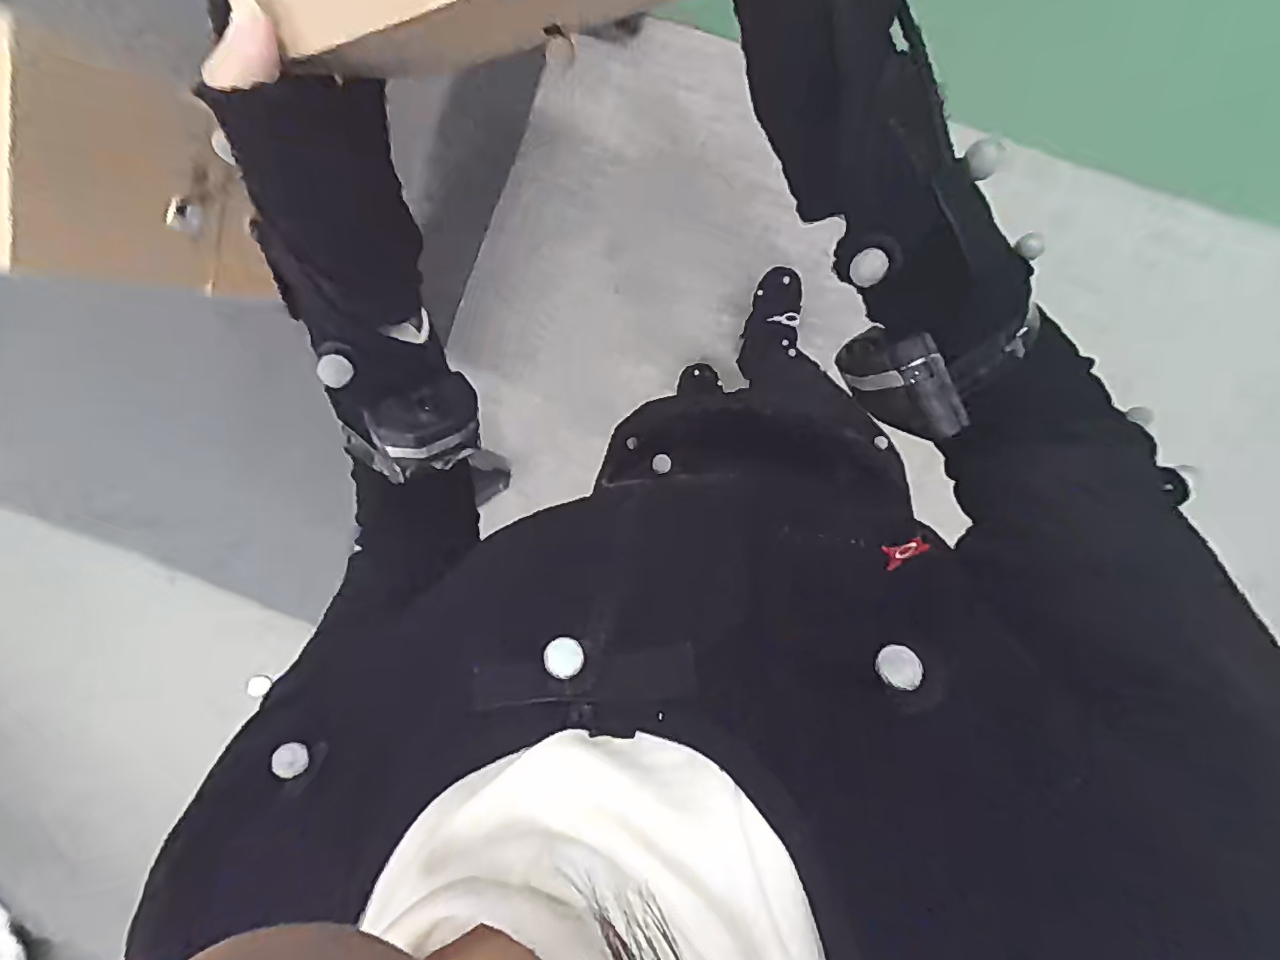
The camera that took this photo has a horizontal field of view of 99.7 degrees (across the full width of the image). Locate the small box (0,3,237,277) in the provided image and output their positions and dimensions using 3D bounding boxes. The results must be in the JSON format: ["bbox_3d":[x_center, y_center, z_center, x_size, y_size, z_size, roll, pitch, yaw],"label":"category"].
[{"bbox_3d":[-0.493,-0.281,0.454,0.179,0.176,0.168,20,108,2],"label":"small box"}]
